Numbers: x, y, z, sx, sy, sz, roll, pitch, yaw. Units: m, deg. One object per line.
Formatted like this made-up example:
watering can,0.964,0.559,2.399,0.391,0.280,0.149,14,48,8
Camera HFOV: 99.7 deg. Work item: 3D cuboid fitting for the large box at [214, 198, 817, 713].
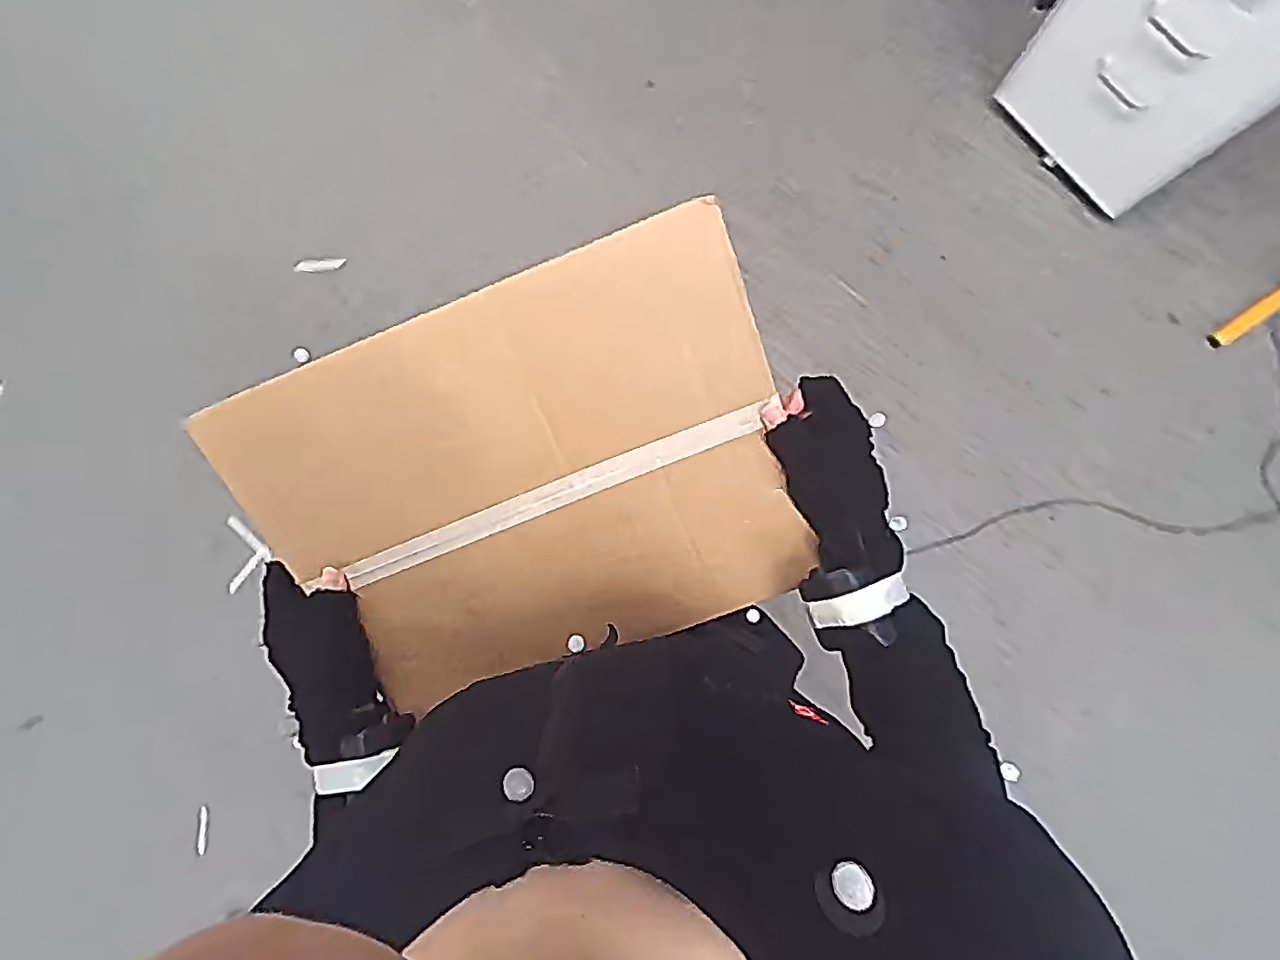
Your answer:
large box,-0.092,-0.037,0.575,0.408,0.320,0.320,-22,111,5
